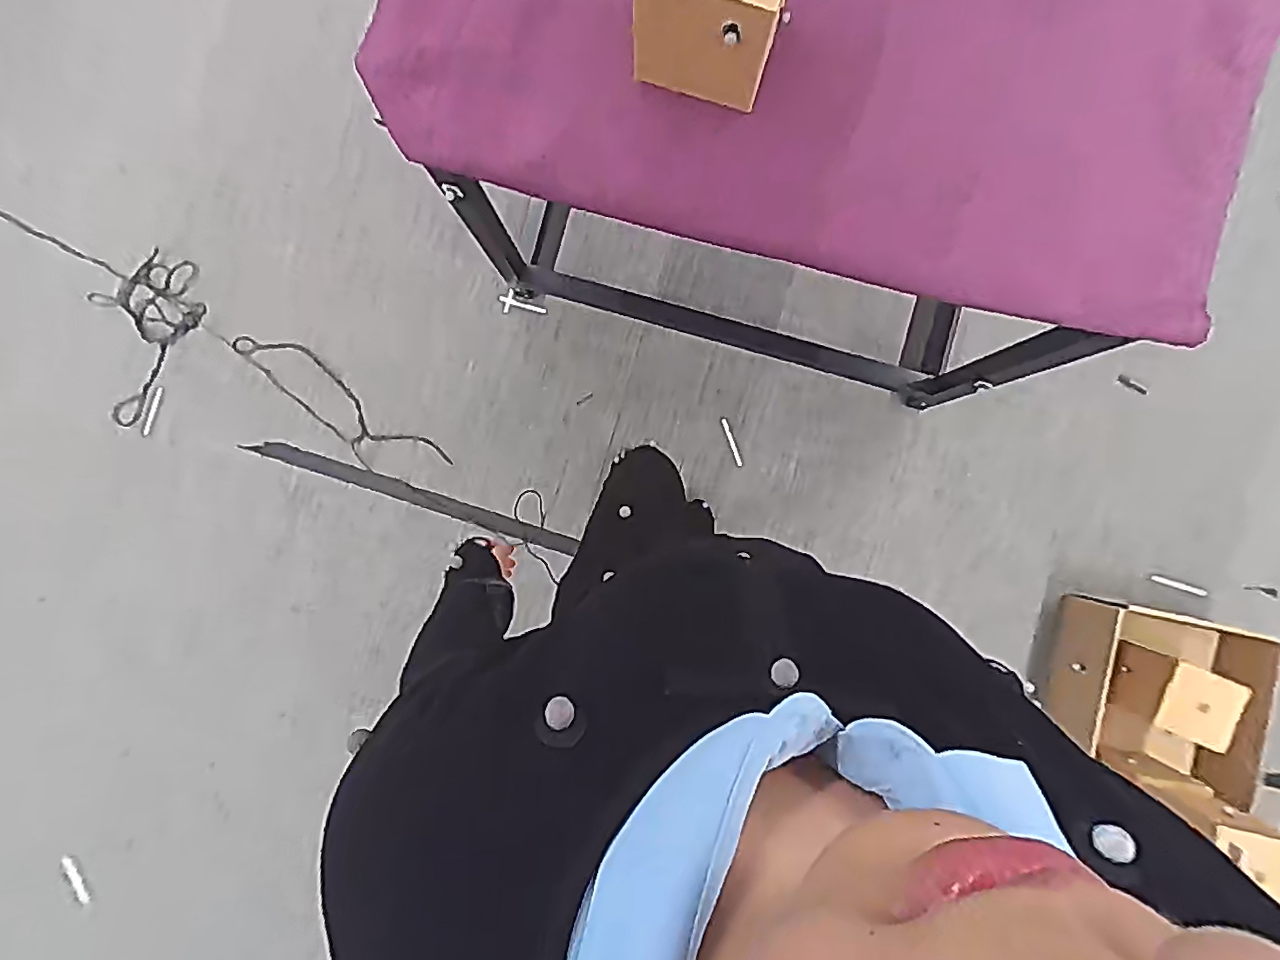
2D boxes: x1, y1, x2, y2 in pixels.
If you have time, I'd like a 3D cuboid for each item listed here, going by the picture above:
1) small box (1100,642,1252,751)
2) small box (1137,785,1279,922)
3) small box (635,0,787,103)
[{"bbox_3d":[1.305,0.521,1.329,0.179,0.176,0.168,23,91,1],"label":"small box"},{"bbox_3d":[1.233,0.789,1.160,0.179,0.176,0.168,13,89,0],"label":"small box"},{"bbox_3d":[0.101,-0.633,0.696,0.179,0.176,0.168,18,89,1],"label":"small box"}]
